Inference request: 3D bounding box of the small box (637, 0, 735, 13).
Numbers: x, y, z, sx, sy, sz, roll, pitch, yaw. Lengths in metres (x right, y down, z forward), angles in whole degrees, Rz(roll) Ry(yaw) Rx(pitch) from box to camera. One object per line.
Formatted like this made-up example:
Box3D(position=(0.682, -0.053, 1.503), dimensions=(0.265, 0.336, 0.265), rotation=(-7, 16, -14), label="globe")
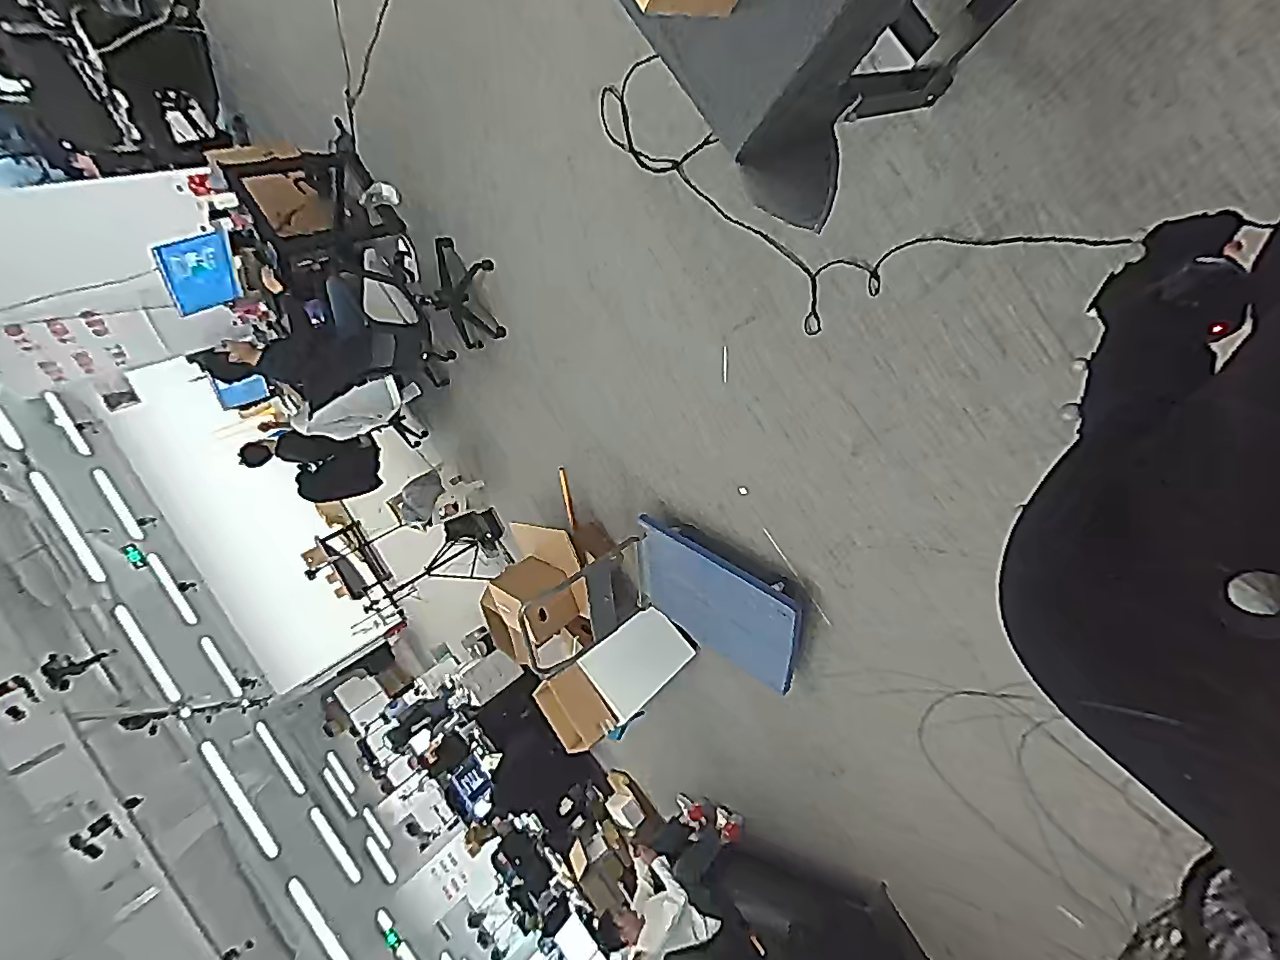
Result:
Box3D(position=(0.060, -0.680, 0.608), dimensions=(0.168, 0.176, 0.179), rotation=(58, 147, -1), label="small box")
